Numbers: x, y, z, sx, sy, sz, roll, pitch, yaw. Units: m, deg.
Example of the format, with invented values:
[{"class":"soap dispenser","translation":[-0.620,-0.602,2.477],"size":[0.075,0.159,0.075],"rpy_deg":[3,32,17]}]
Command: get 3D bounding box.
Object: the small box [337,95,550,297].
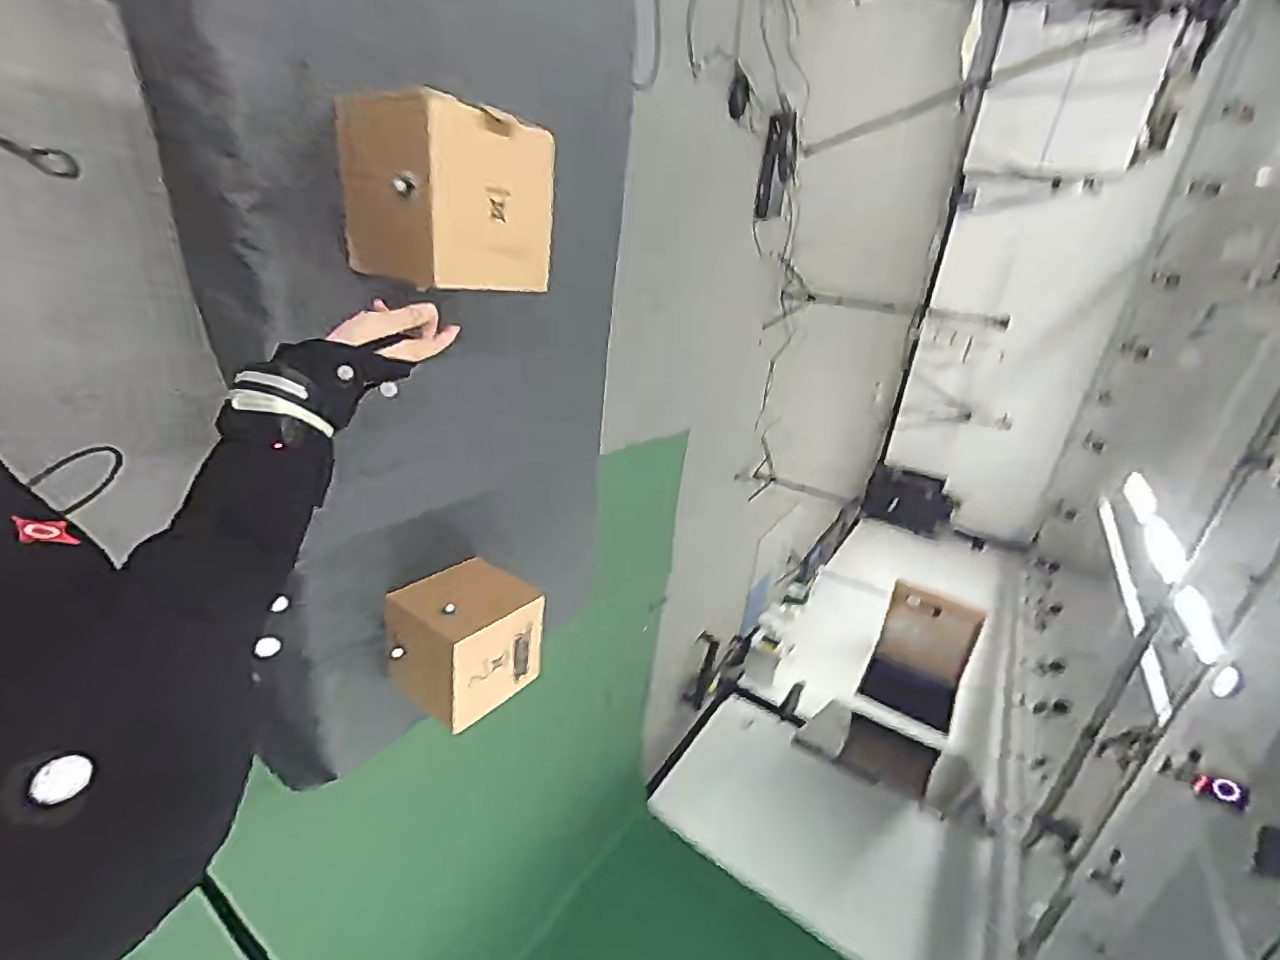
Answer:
[{"class":"small box","translation":[-0.225,-0.315,0.625],"size":[0.168,0.176,0.179],"rpy_deg":[-23,128,-52]}]
